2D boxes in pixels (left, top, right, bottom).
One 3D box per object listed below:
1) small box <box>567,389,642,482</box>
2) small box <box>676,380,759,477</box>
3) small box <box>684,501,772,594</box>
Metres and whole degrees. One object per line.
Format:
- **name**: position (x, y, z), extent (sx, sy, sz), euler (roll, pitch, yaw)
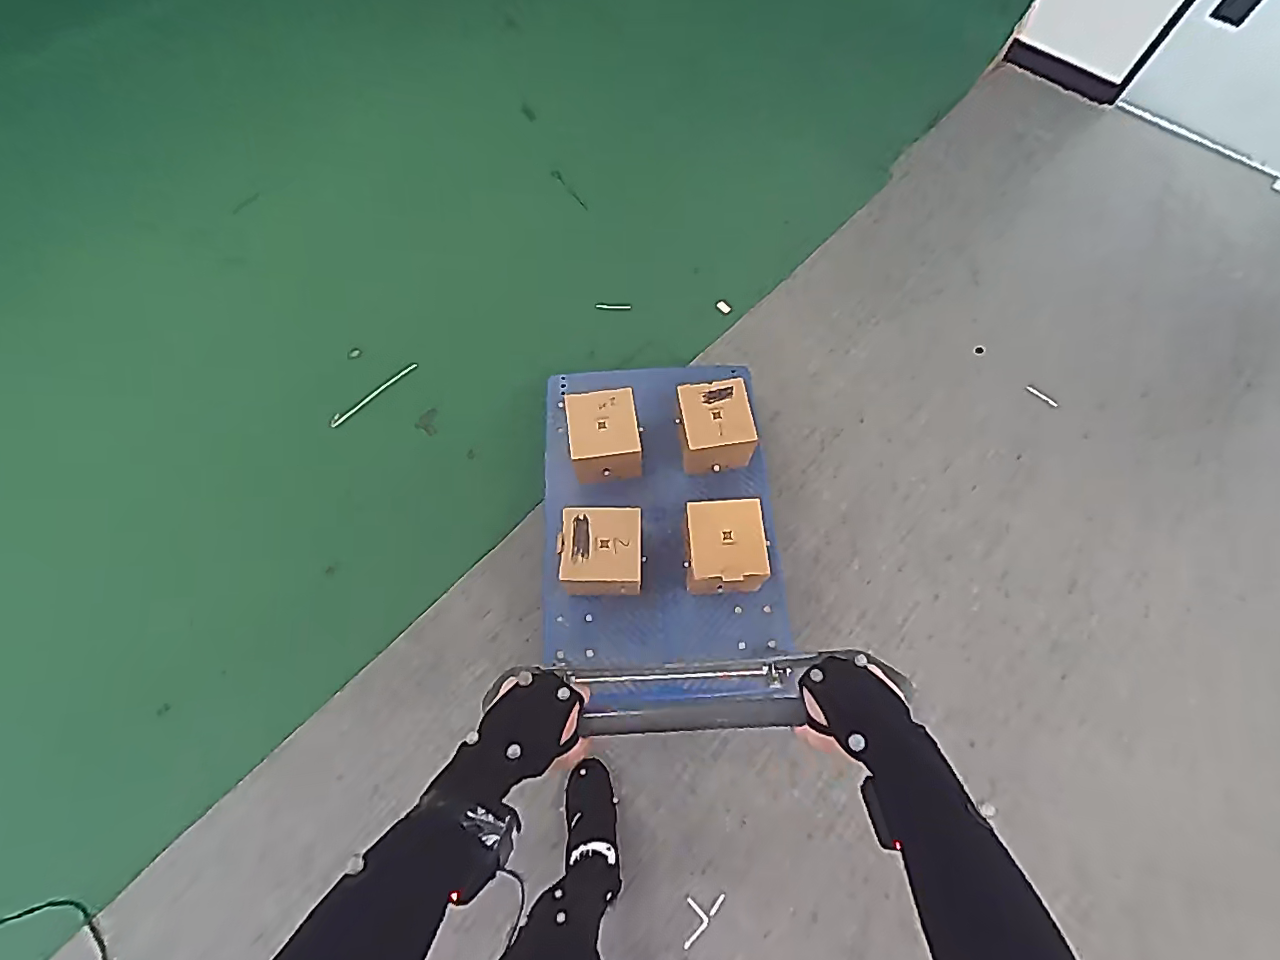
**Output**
- **small box**: position (-0.085, -0.103, 1.350), extent (0.168, 0.176, 0.179), euler (-7, 68, -4)
- **small box**: position (0.187, -0.126, 1.361), extent (0.168, 0.176, 0.179), euler (-8, 69, -3)
- **small box**: position (0.193, 0.159, 1.246), extent (0.168, 0.176, 0.179), euler (-3, 69, -1)
